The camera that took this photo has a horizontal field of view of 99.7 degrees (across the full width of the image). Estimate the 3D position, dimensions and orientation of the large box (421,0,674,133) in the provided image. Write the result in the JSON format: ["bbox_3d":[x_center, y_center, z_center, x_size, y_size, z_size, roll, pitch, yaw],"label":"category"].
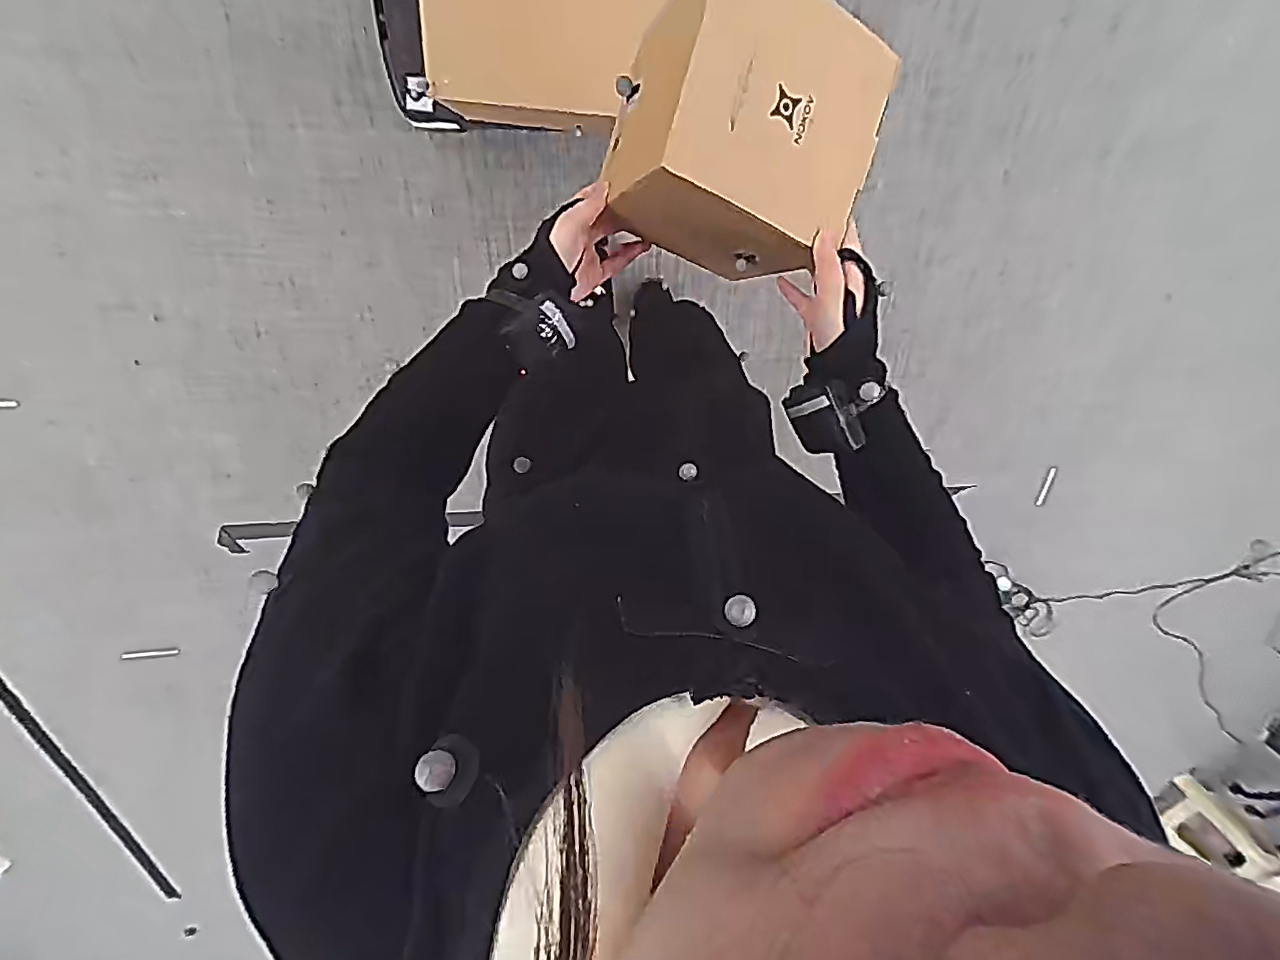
[{"bbox_3d":[-0.084,-0.700,0.789,0.408,0.320,0.320,0,118,-8],"label":"large box"}]

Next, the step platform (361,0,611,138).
[{"bbox_3d":[-0.136,-0.803,0.999,0.684,0.204,0.286,2,118,-9],"label":"step platform"}]

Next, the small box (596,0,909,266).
[{"bbox_3d":[0.084,-0.302,0.472,0.179,0.176,0.168,14,97,-25],"label":"small box"}]
